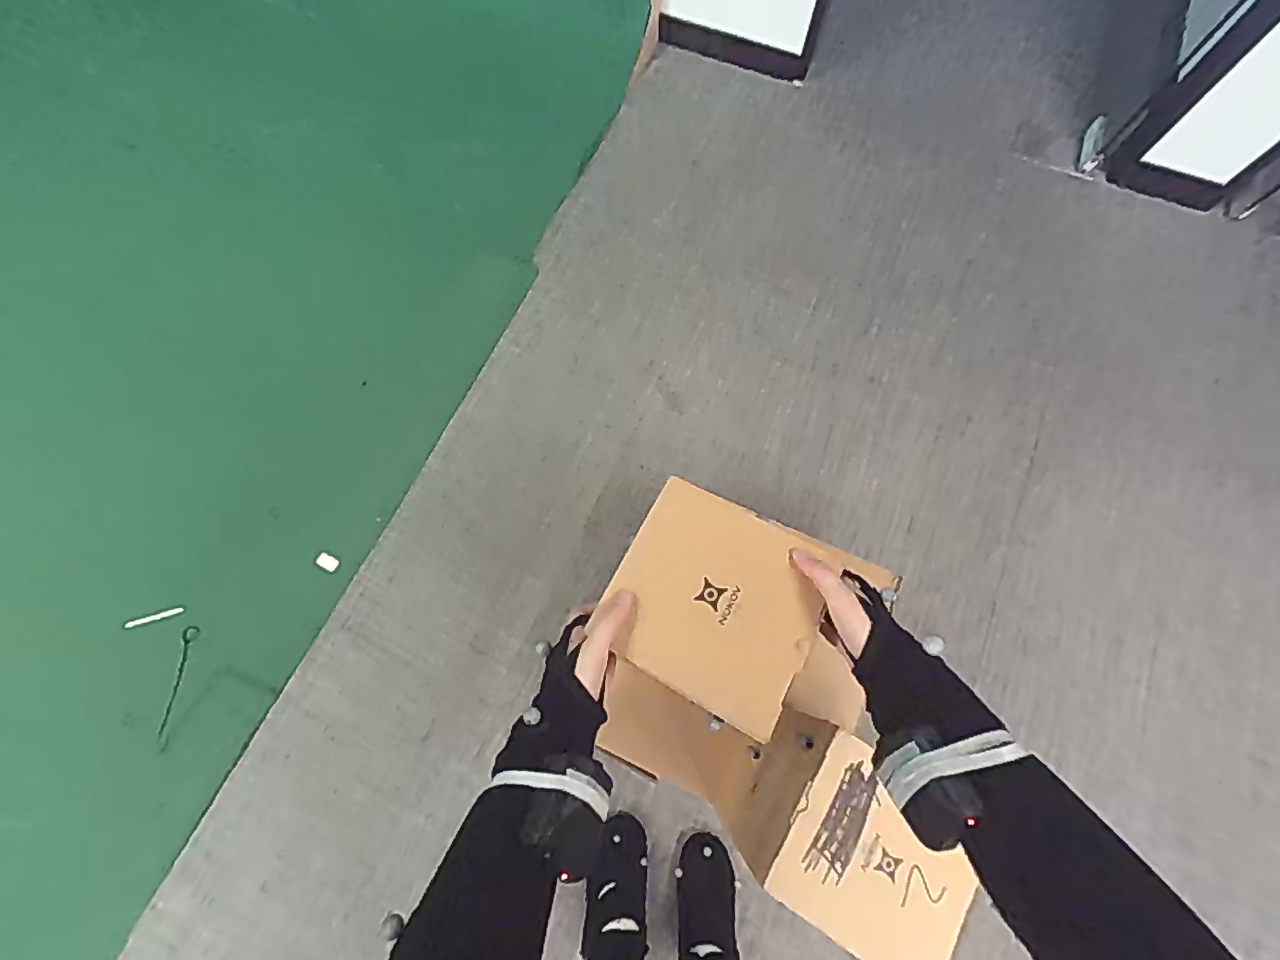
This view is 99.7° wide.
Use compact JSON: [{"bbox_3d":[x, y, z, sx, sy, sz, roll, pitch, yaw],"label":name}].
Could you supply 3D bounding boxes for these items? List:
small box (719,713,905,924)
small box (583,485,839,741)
[{"bbox_3d":[0.222,0.438,0.742,0.168,0.176,0.179,27,72,8],"label":"small box"},{"bbox_3d":[0.065,0.135,0.547,0.179,0.176,0.168,27,74,10],"label":"small box"}]
